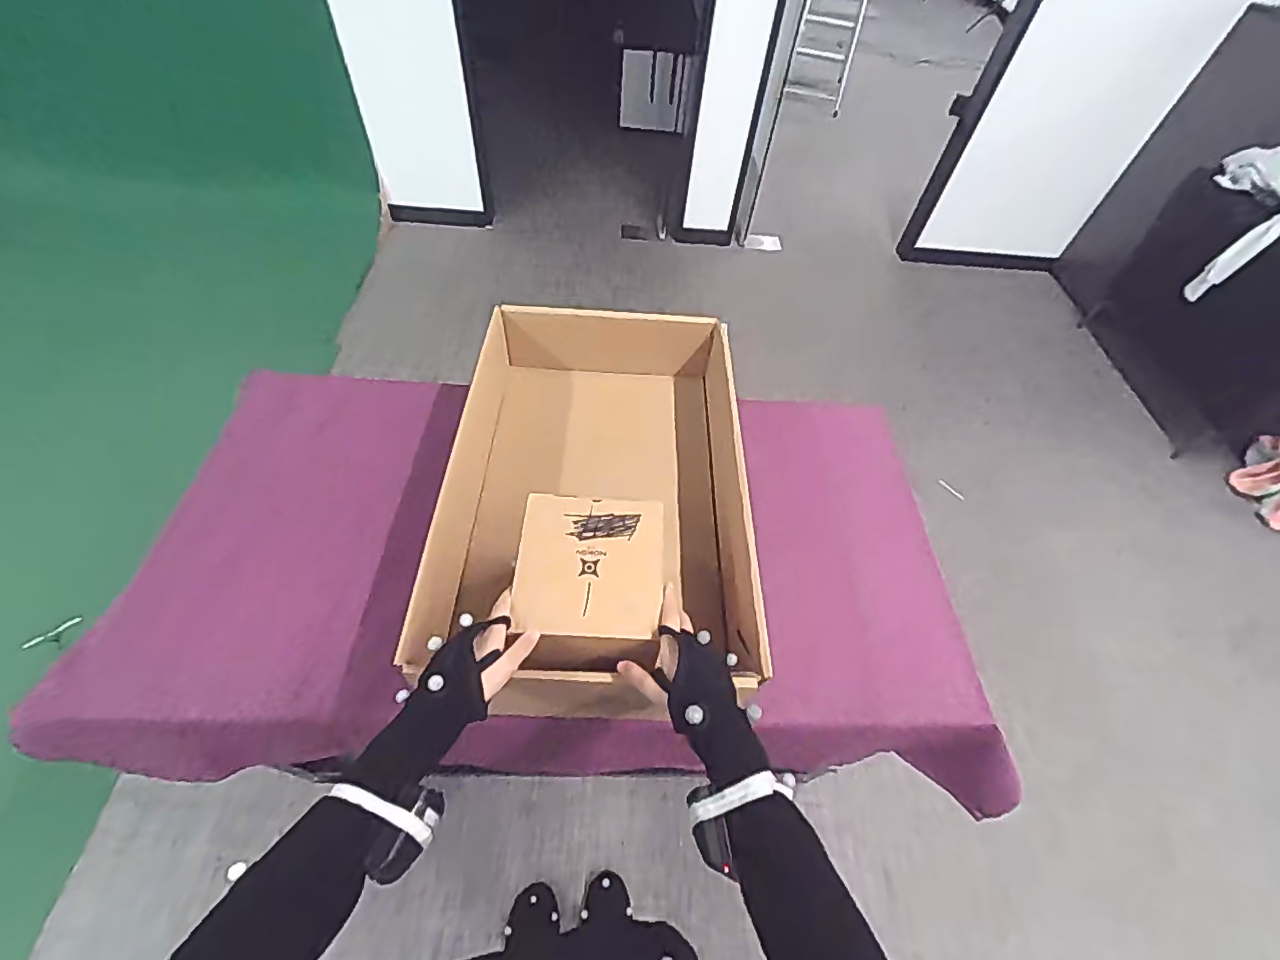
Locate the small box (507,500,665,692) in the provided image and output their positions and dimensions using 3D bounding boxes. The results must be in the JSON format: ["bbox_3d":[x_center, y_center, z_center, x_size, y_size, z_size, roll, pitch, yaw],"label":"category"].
[{"bbox_3d":[-0.060,0.146,0.671,0.168,0.176,0.179,4,54,-2],"label":"small box"}]
